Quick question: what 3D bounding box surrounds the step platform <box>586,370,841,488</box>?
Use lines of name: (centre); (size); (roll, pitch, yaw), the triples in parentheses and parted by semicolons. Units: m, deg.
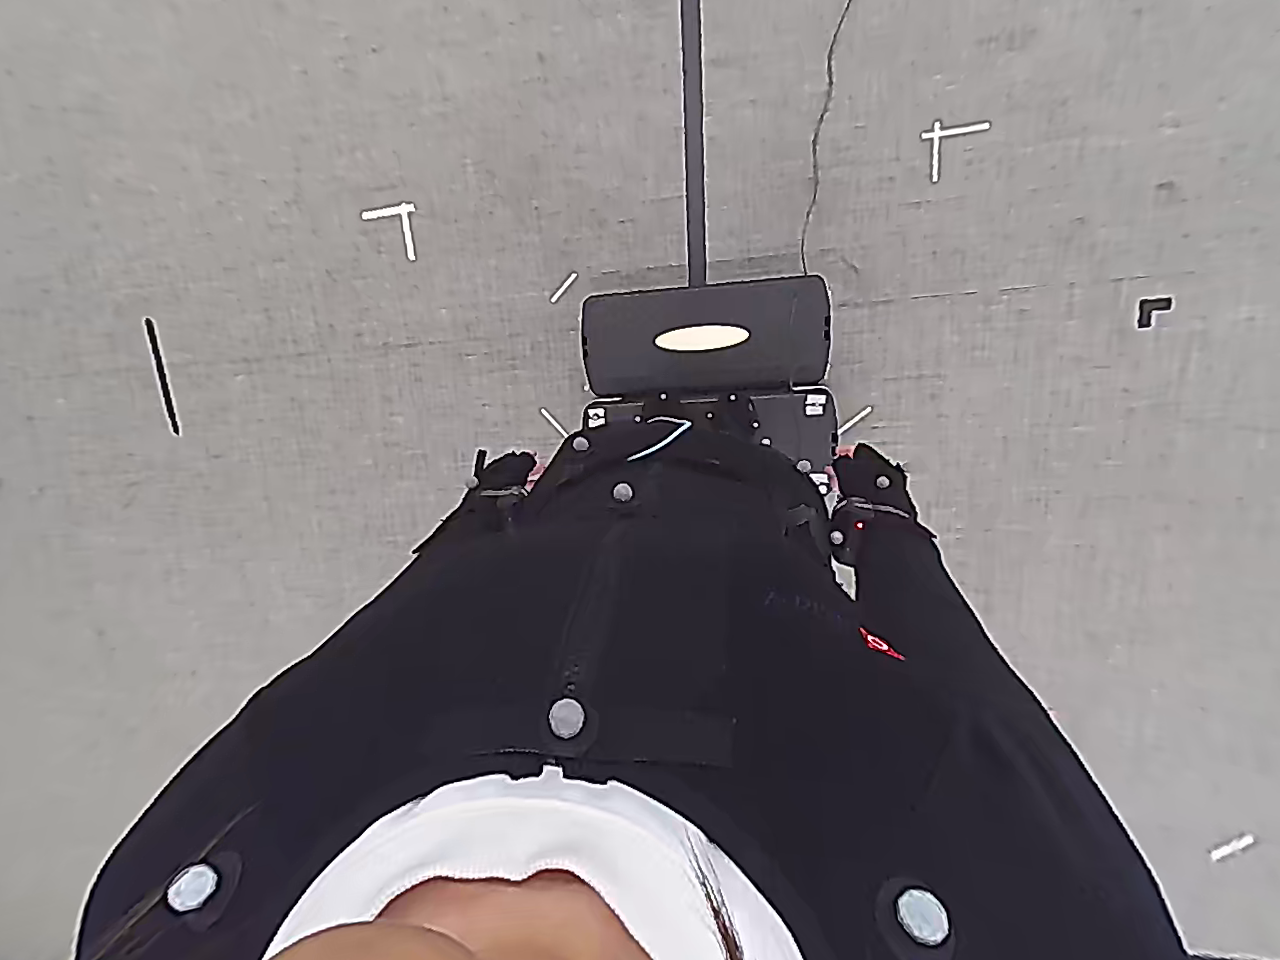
step platform: (0.193, -0.136, 1.495); (0.684, 0.204, 0.286); (-3, 101, 11)
